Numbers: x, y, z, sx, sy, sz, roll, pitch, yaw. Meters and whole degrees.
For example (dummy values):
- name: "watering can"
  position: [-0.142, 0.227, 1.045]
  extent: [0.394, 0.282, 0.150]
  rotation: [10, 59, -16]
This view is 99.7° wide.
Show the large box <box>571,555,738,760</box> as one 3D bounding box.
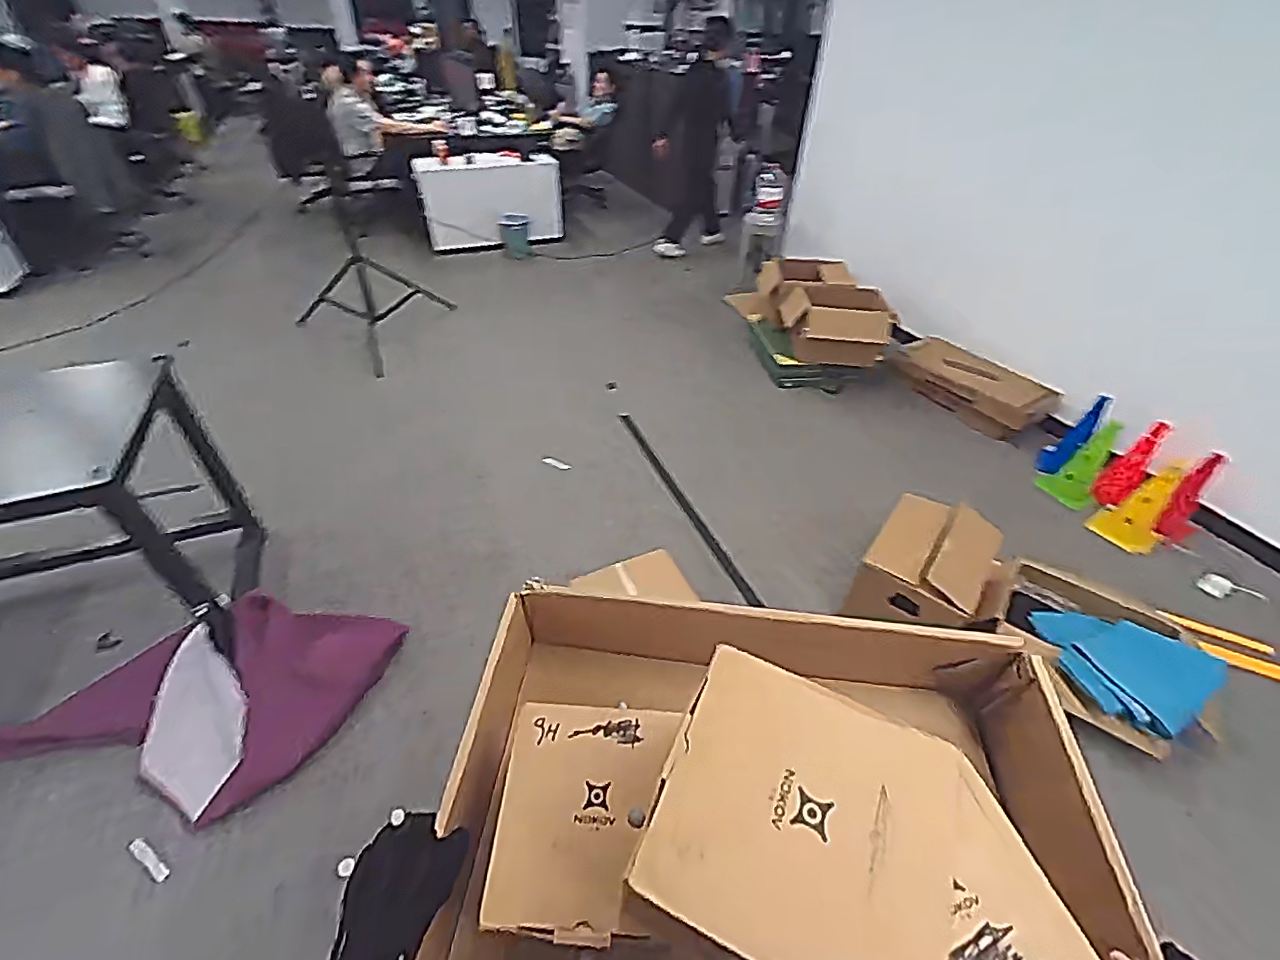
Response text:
- name: "large box"
  position: [0.019, 0.492, 1.545]
  extent: [0.320, 0.320, 0.408]
  rotation: [-17, 45, -20]
